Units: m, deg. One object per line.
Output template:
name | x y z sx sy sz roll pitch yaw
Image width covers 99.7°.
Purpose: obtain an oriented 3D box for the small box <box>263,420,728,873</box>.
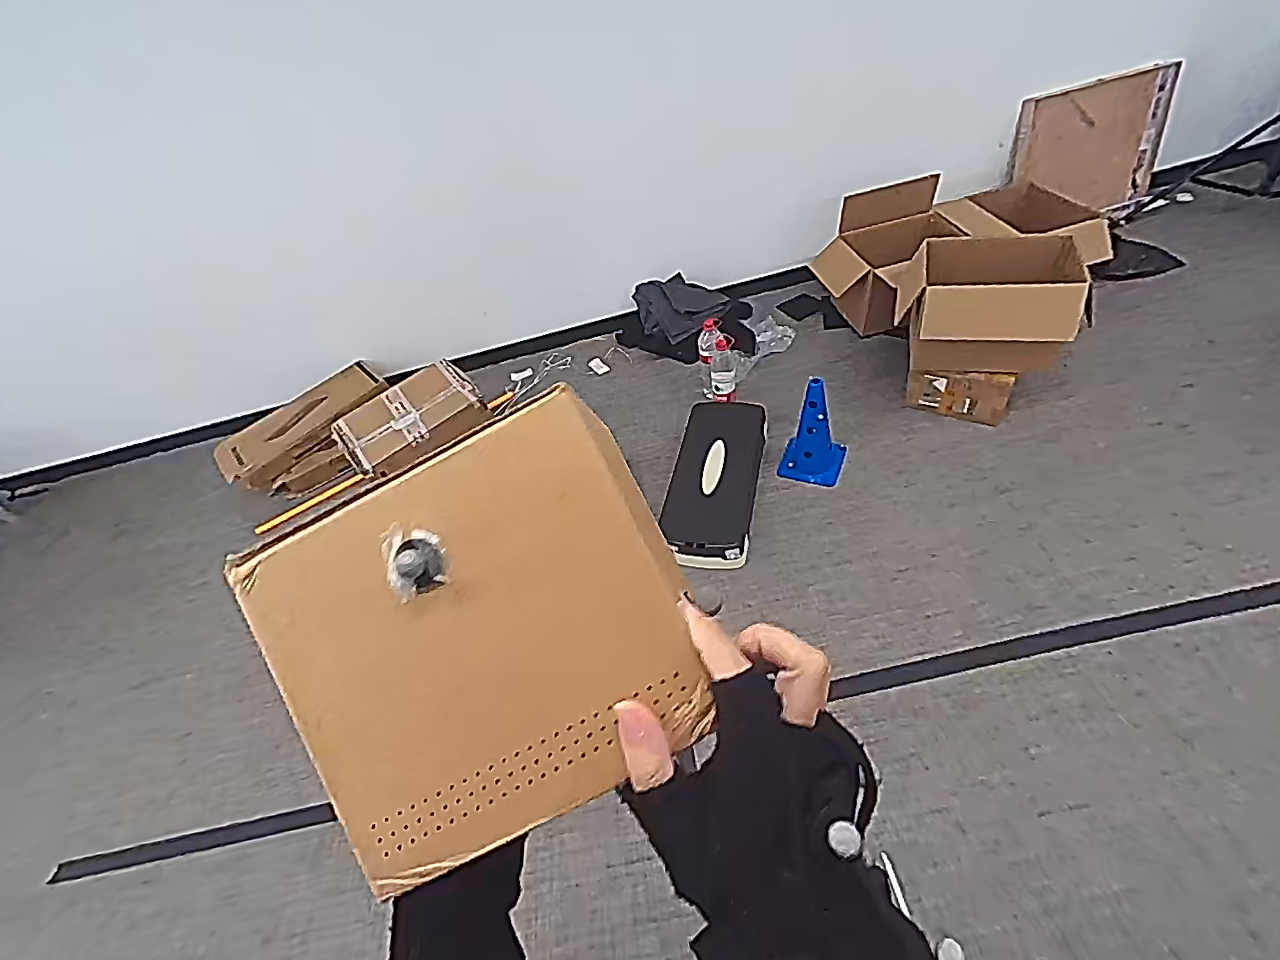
small box | -0.066 0.086 0.331 0.179 0.168 0.176 -28 87 4
